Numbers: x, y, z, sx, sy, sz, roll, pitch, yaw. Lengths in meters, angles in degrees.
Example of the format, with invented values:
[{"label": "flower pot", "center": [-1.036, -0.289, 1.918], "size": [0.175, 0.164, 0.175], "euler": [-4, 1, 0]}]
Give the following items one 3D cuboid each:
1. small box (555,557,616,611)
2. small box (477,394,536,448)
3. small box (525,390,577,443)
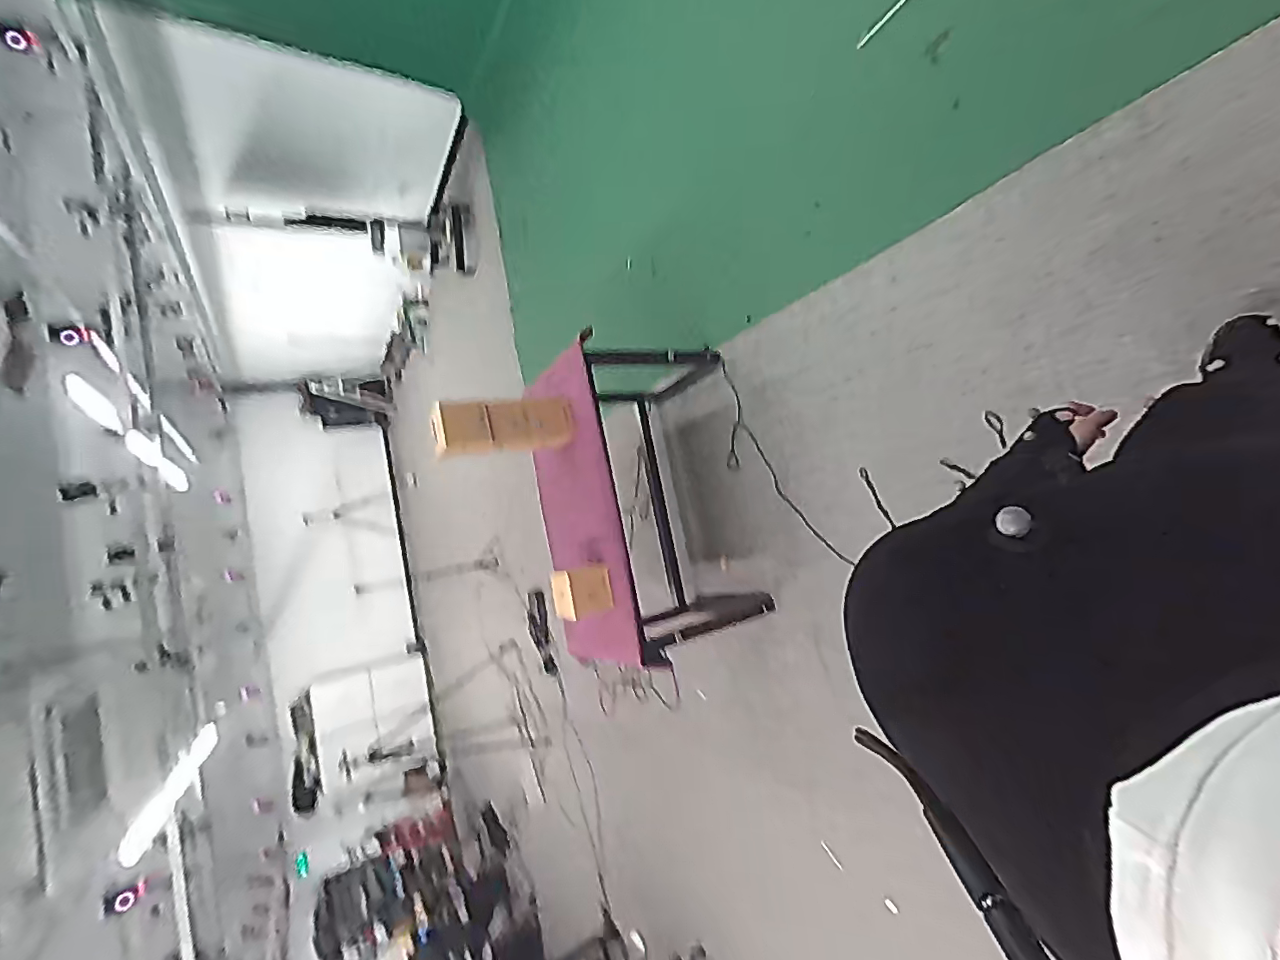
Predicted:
[{"label": "small box", "center": [-0.202, 0.392, 2.052], "size": [0.179, 0.176, 0.168], "euler": [-17, 83, 58]}, {"label": "small box", "center": [-0.508, -0.228, 2.070], "size": [0.179, 0.176, 0.168], "euler": [-18, 82, 59]}, {"label": "small box", "center": [-0.368, -0.251, 2.155], "size": [0.179, 0.176, 0.168], "euler": [-21, 81, 59]}]
